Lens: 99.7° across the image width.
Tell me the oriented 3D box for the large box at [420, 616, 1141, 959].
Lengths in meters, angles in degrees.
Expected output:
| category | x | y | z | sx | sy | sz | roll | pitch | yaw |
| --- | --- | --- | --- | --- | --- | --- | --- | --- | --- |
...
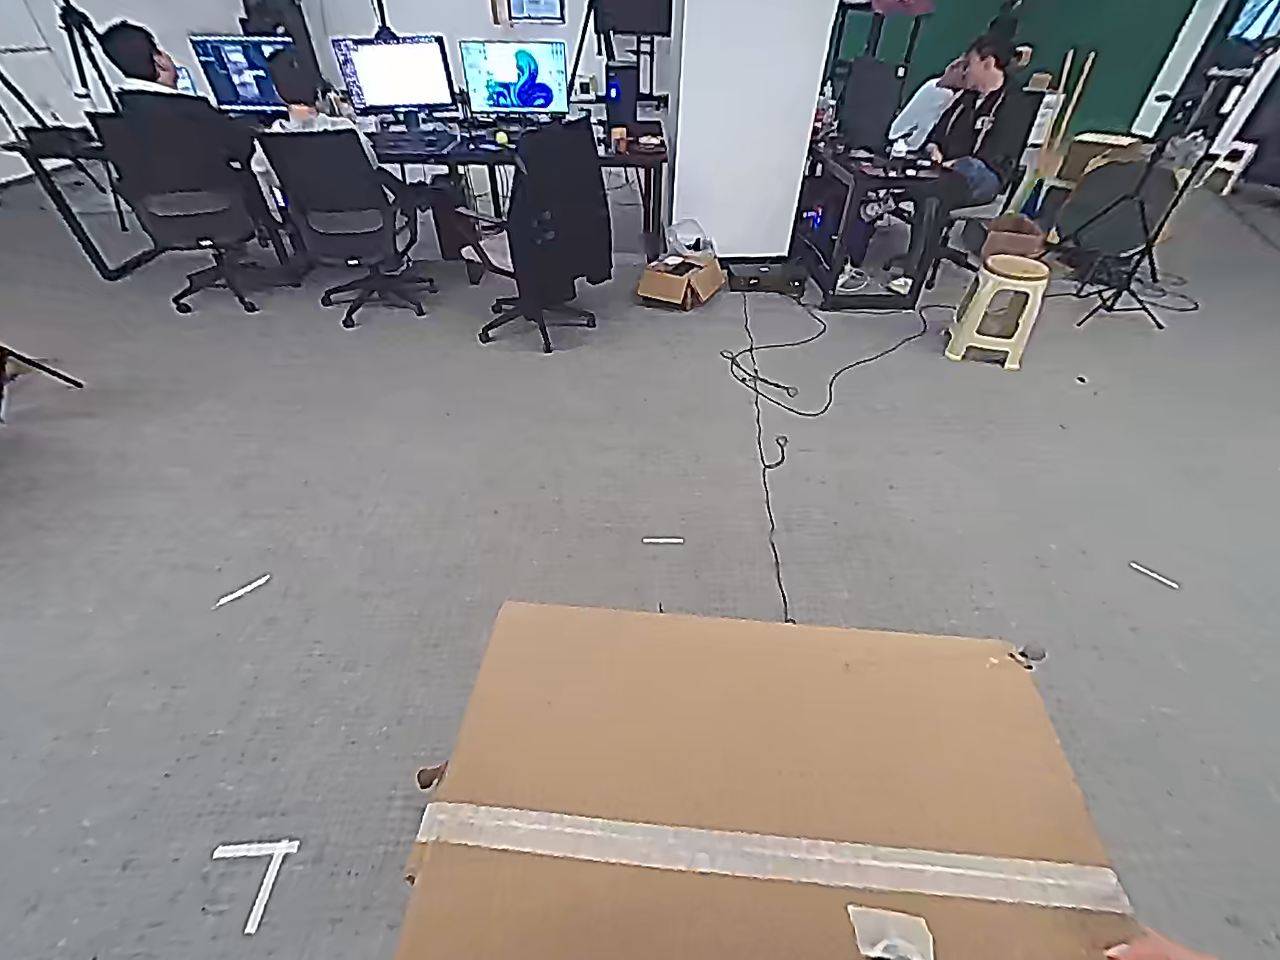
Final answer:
| category | x | y | z | sx | sy | sz | roll | pitch | yaw |
| --- | --- | --- | --- | --- | --- | --- | --- | --- | --- |
| large box | 0.078 | 0.334 | 0.436 | 0.408 | 0.320 | 0.320 | 4 | 47 | 3 |
